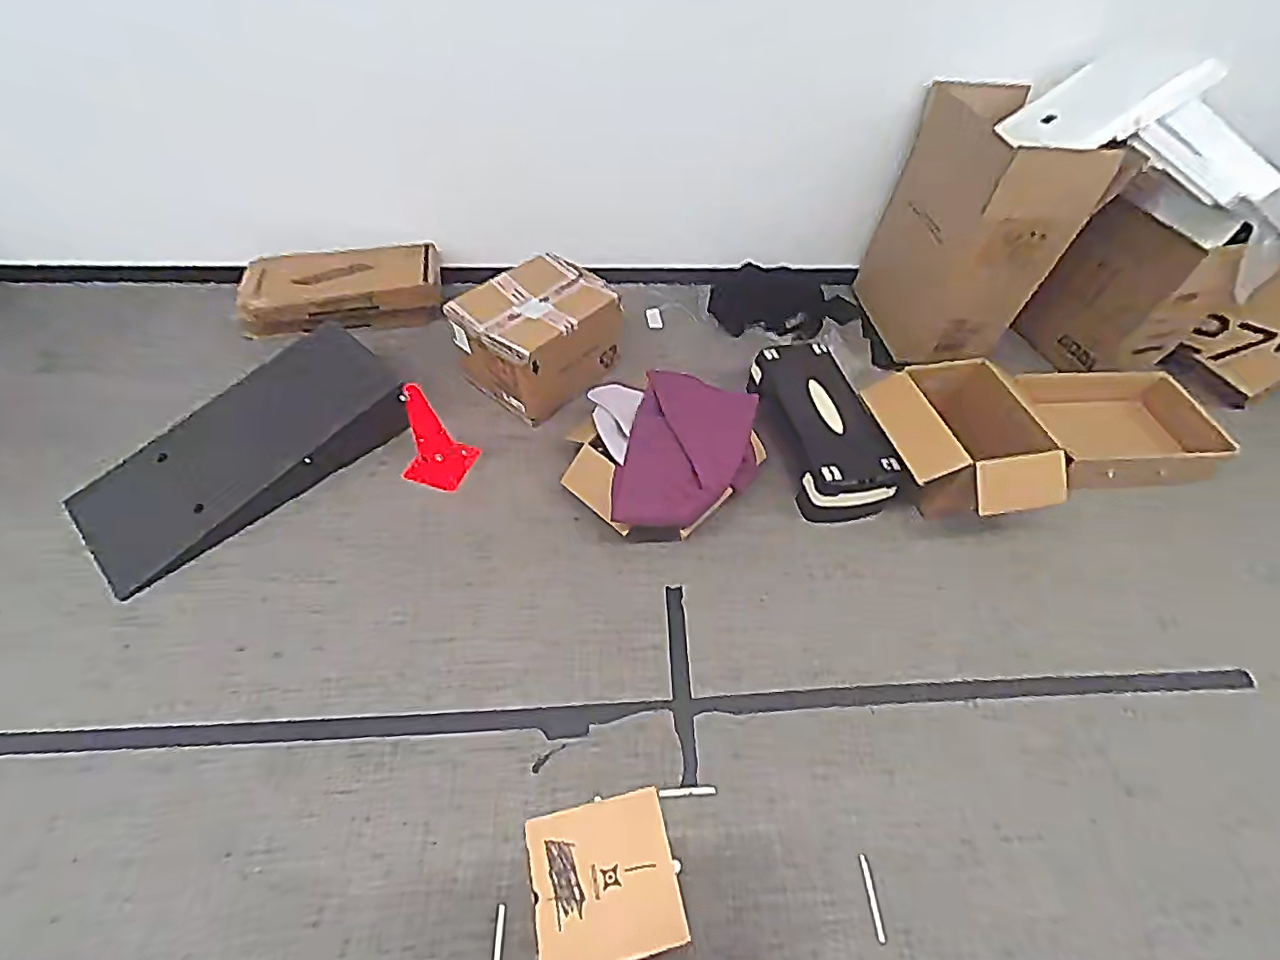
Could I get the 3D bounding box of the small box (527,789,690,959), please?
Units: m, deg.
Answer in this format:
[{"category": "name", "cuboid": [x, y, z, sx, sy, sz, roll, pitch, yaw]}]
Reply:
[{"category": "small box", "cuboid": [-0.043, 0.533, 0.715, 0.179, 0.176, 0.168, -10, 53, -9]}]
